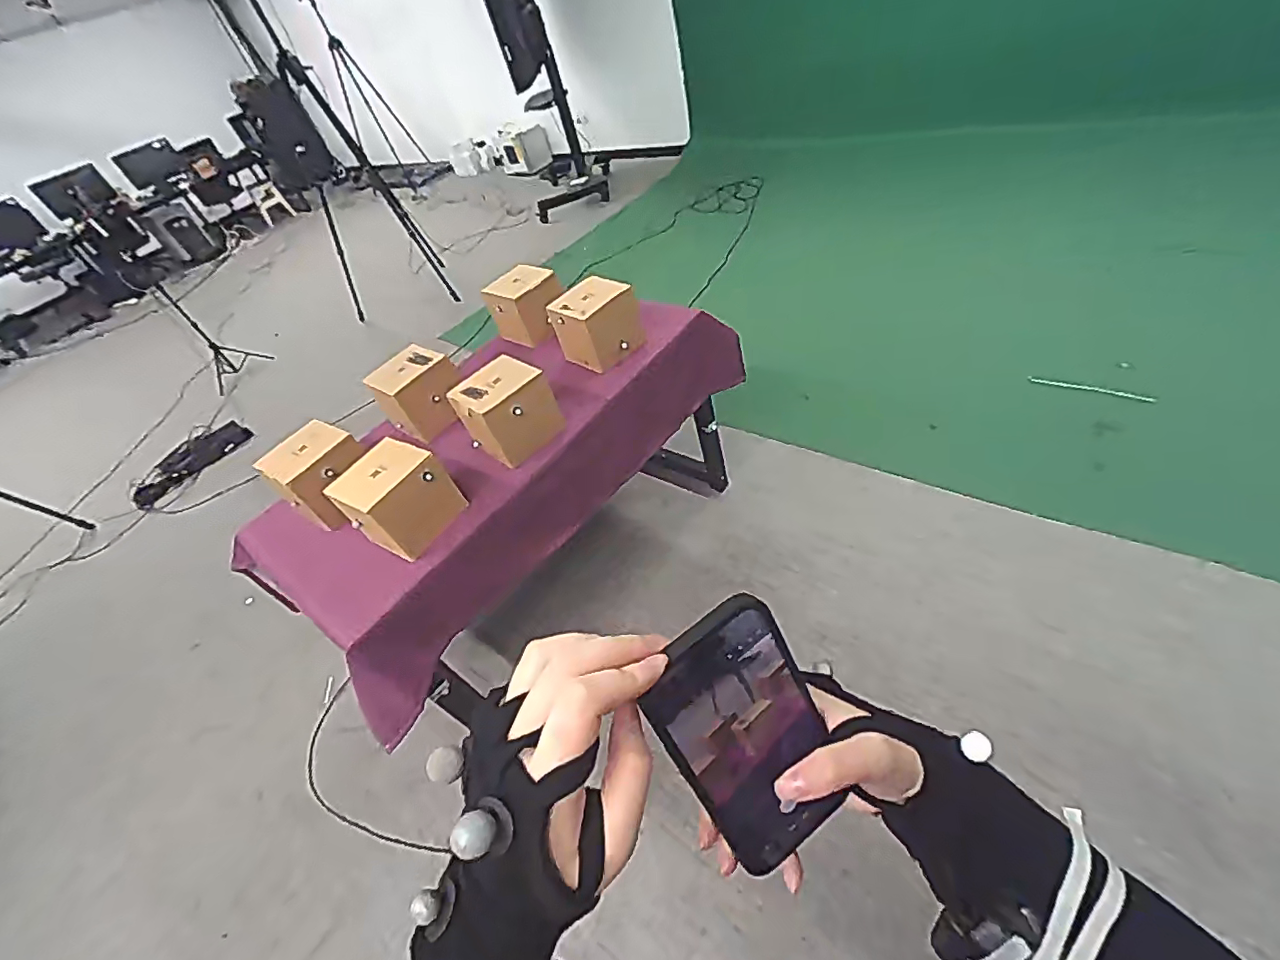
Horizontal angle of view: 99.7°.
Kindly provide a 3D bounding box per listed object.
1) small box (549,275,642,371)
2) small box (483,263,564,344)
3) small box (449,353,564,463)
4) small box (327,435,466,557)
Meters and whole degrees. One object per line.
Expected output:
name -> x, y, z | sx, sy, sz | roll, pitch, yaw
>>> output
small box -> -0.111, -0.426, 1.463 | 0.179, 0.176, 0.168 | -42, 48, -22
small box -> -0.339, -0.536, 1.648 | 0.179, 0.176, 0.168 | 27, 61, 36
small box -> -0.308, -0.170, 1.282 | 0.168, 0.176, 0.179 | 29, 61, 38
small box -> -0.508, 0.035, 1.153 | 0.168, 0.176, 0.179 | 16, 53, 32
